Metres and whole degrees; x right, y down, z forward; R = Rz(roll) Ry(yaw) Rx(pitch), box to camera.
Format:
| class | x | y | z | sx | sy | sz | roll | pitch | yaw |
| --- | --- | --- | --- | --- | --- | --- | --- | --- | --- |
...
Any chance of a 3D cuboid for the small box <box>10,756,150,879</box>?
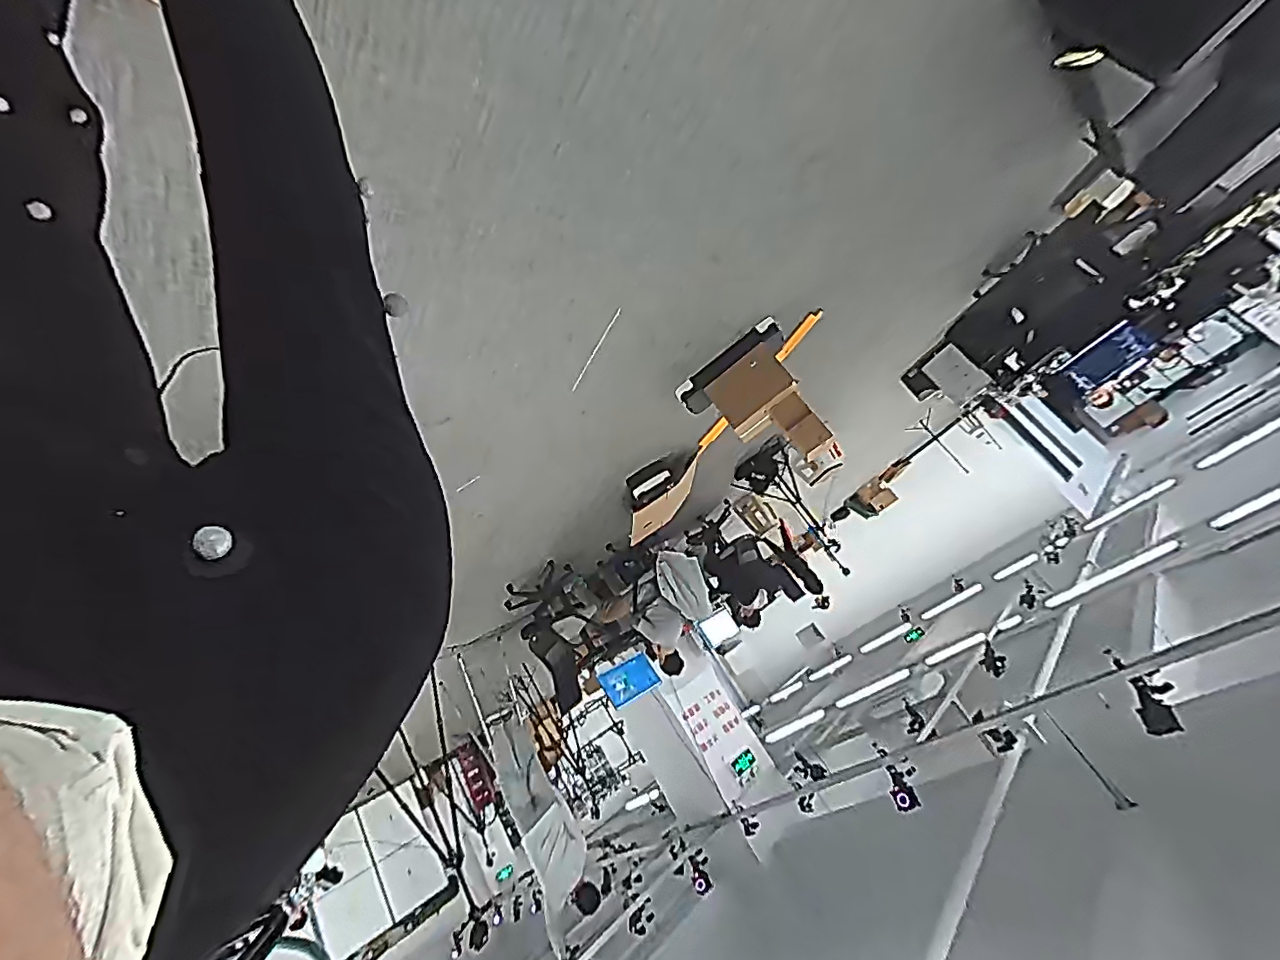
| class | x | y | z | sx | sy | sz | roll | pitch | yaw |
| --- | --- | --- | --- | --- | --- | --- | --- | --- | --- |
| small box | -1.334 | 0.784 | 1.286 | 0.179 | 0.176 | 0.168 | -36 | 160 | 8 |

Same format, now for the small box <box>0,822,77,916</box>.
| class | x | y | z | sx | sy | sz | roll | pitch | yaw |
| --- | --- | --- | --- | --- | --- | --- | --- | --- | --- |
| small box | -1.560 | 0.952 | 1.337 | 0.168 | 0.176 | 0.179 | -22 | 157 | -32 |
